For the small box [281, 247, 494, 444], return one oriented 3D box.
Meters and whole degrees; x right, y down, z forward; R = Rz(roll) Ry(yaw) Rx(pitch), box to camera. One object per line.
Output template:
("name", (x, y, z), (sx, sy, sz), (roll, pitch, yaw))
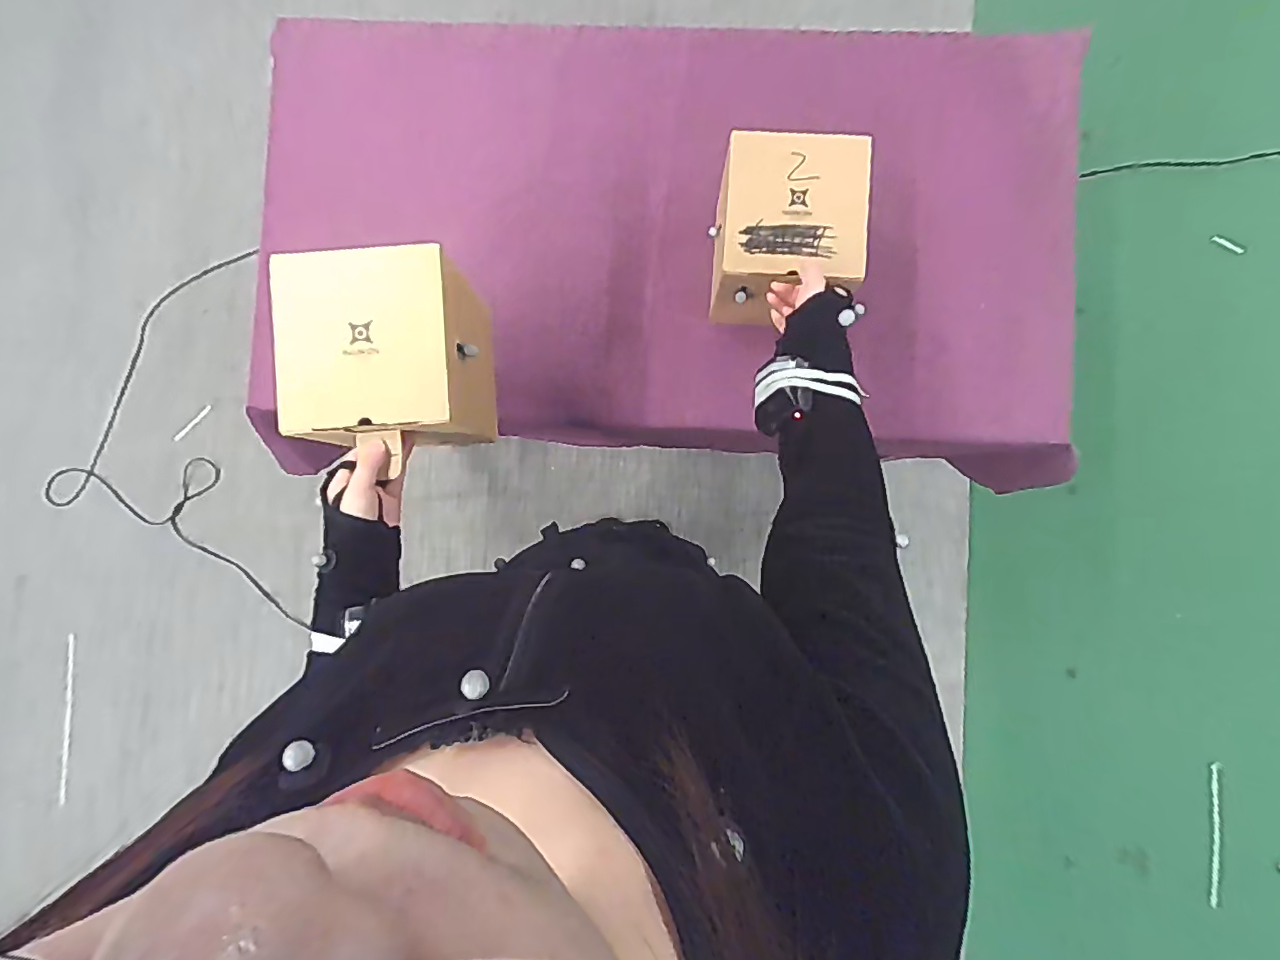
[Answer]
("small box", (-0.270, -0.139, 0.612), (0.168, 0.176, 0.179), (-4, 89, 0))
